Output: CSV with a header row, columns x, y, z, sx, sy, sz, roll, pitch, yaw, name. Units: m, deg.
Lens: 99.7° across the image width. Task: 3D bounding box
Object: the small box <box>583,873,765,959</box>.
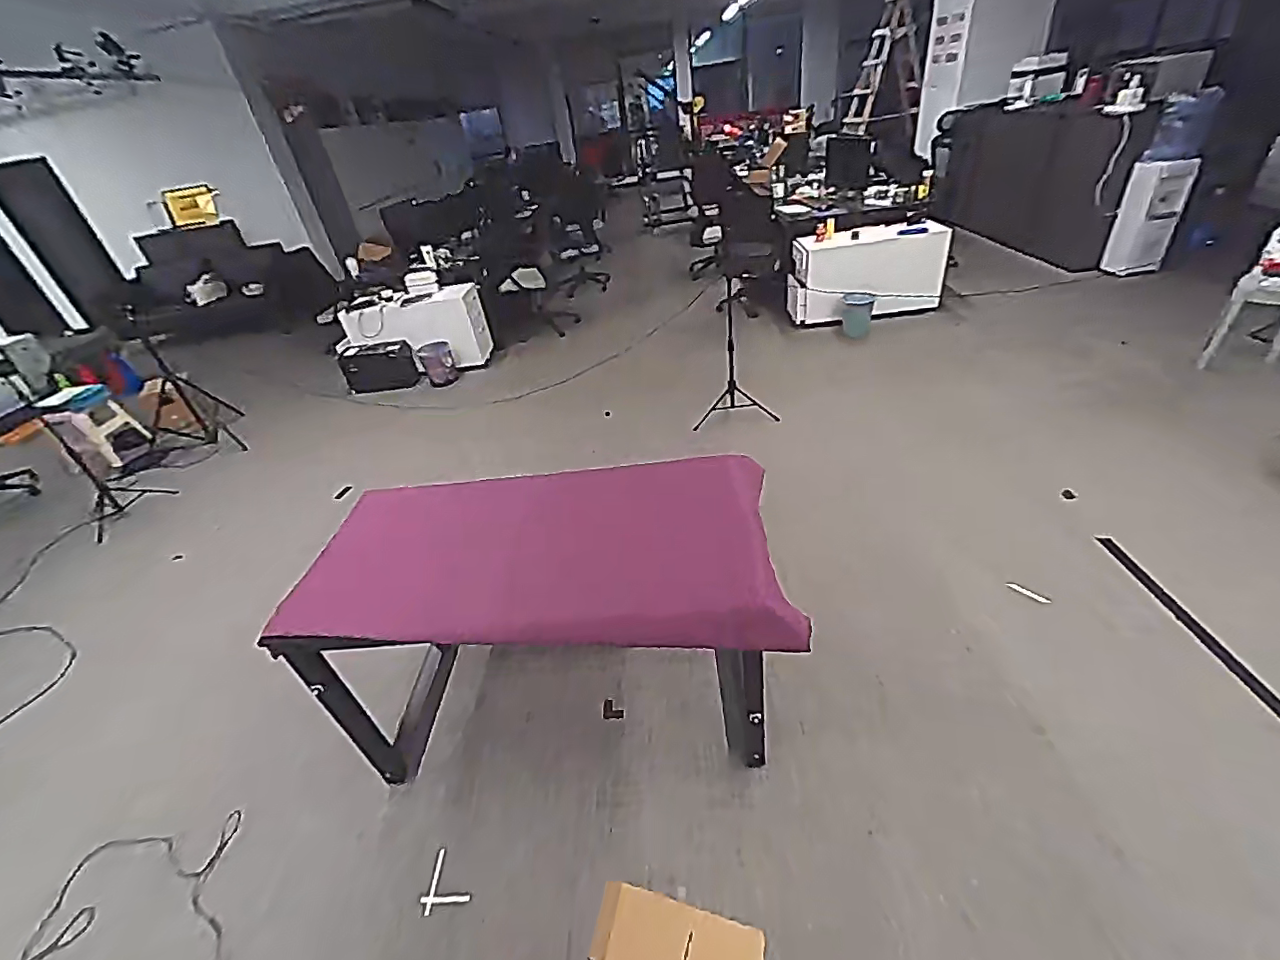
x,y,z,sx,sy,sz,roll,pitch,yaw,name
0.022,0.565,0.598,0.168,0.176,0.179,18,54,3,small box
